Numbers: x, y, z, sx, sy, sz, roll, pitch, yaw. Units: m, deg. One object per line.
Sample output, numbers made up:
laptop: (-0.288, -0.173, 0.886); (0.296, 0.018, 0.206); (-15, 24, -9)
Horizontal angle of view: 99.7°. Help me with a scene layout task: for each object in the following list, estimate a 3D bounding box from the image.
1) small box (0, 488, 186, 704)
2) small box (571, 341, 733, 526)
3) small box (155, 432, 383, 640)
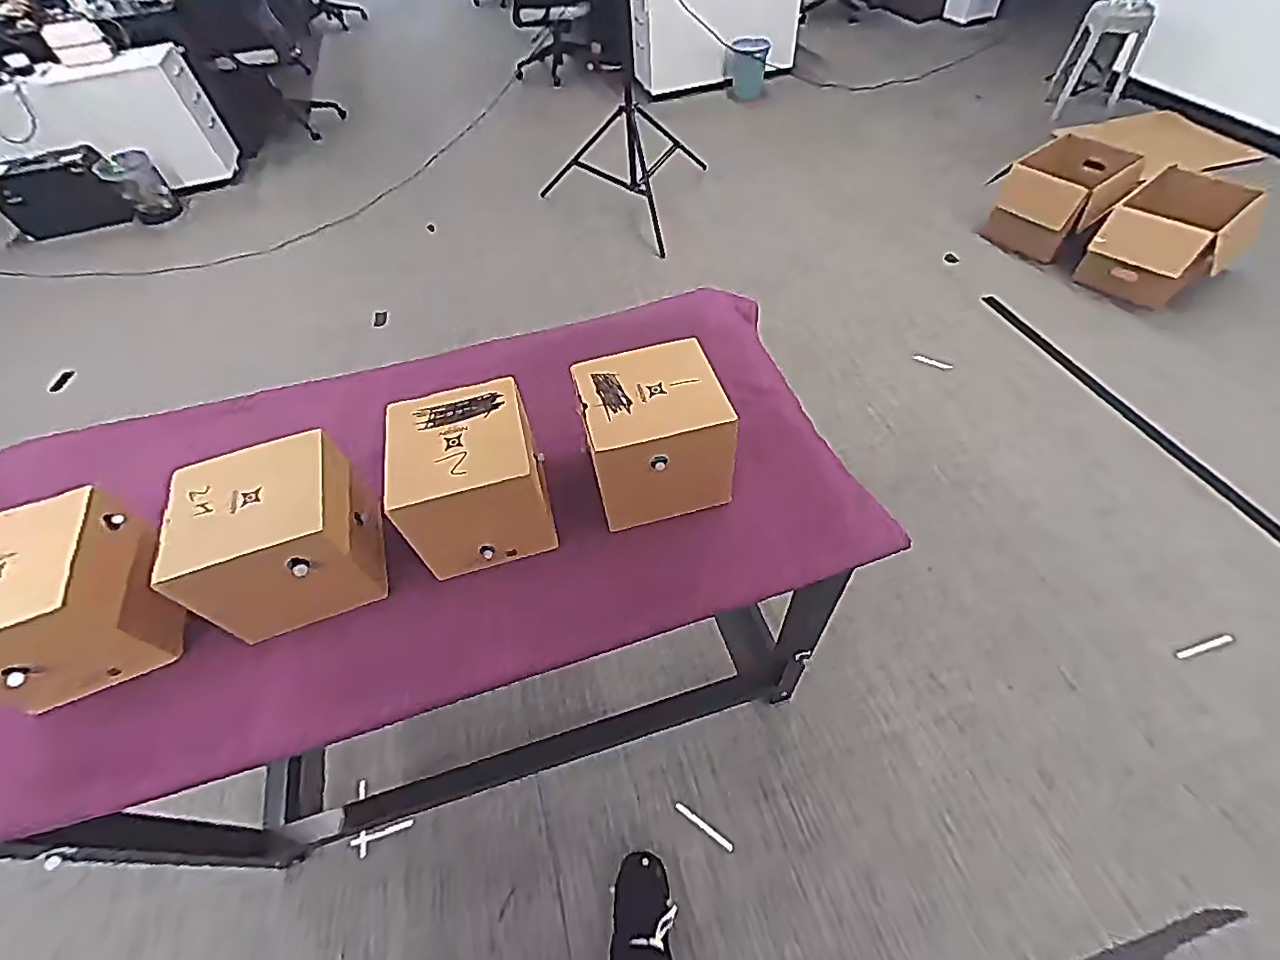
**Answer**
small box: (-0.685, 0.147, 0.649); (0.168, 0.176, 0.179); (-22, 53, -11)
small box: (0.016, -0.059, 0.738); (0.179, 0.176, 0.168); (-13, 52, -6)
small box: (-0.442, 0.073, 0.681); (0.179, 0.176, 0.168); (-19, 53, -9)
